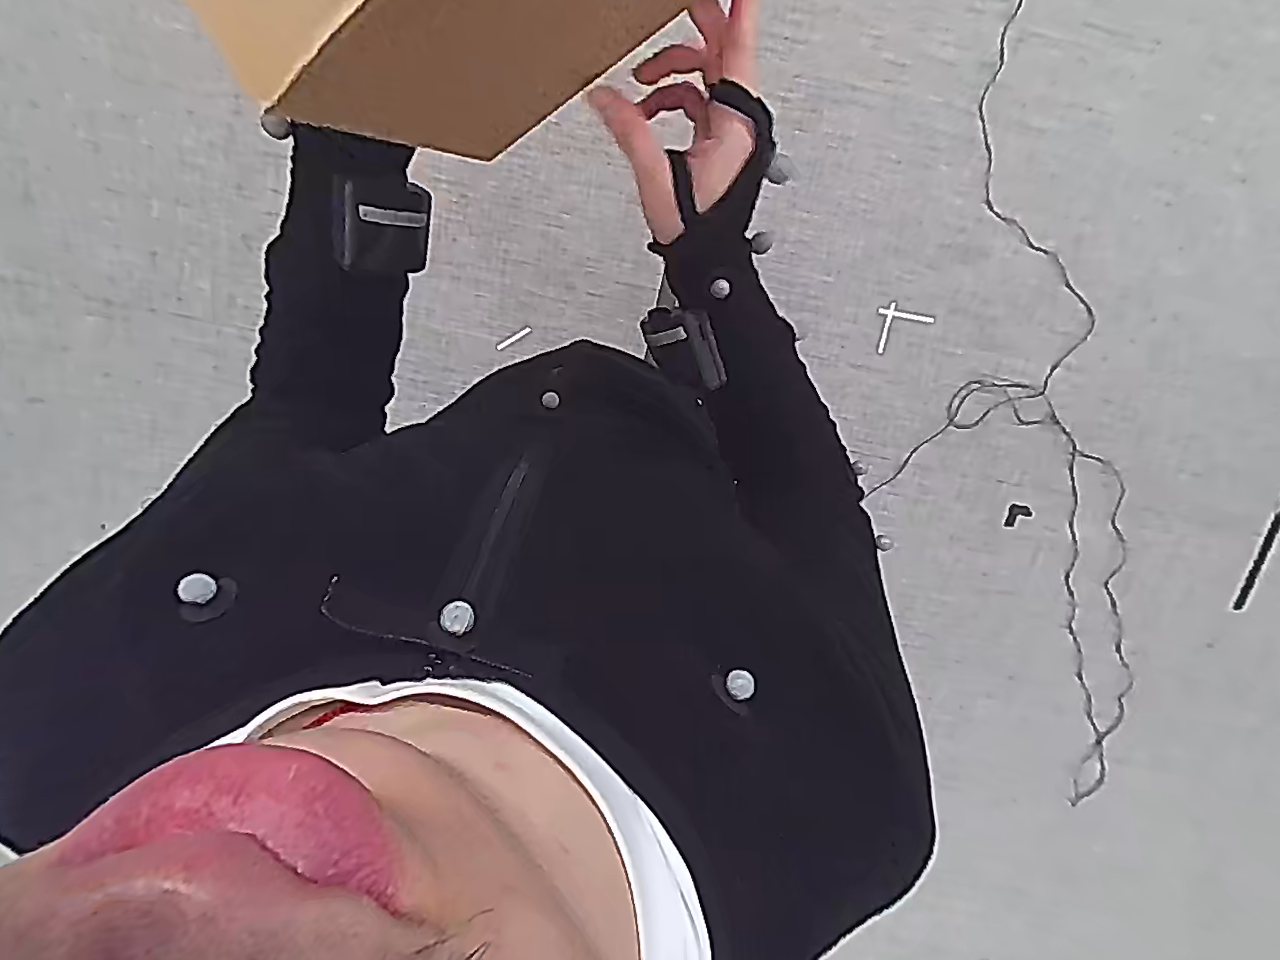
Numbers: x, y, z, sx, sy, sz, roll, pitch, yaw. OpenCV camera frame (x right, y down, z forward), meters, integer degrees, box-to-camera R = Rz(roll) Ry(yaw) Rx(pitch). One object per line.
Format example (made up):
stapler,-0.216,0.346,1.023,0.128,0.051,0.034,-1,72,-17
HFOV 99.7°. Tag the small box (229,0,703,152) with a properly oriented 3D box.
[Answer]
small box,-0.070,-0.264,0.211,0.179,0.176,0.168,-23,106,22
